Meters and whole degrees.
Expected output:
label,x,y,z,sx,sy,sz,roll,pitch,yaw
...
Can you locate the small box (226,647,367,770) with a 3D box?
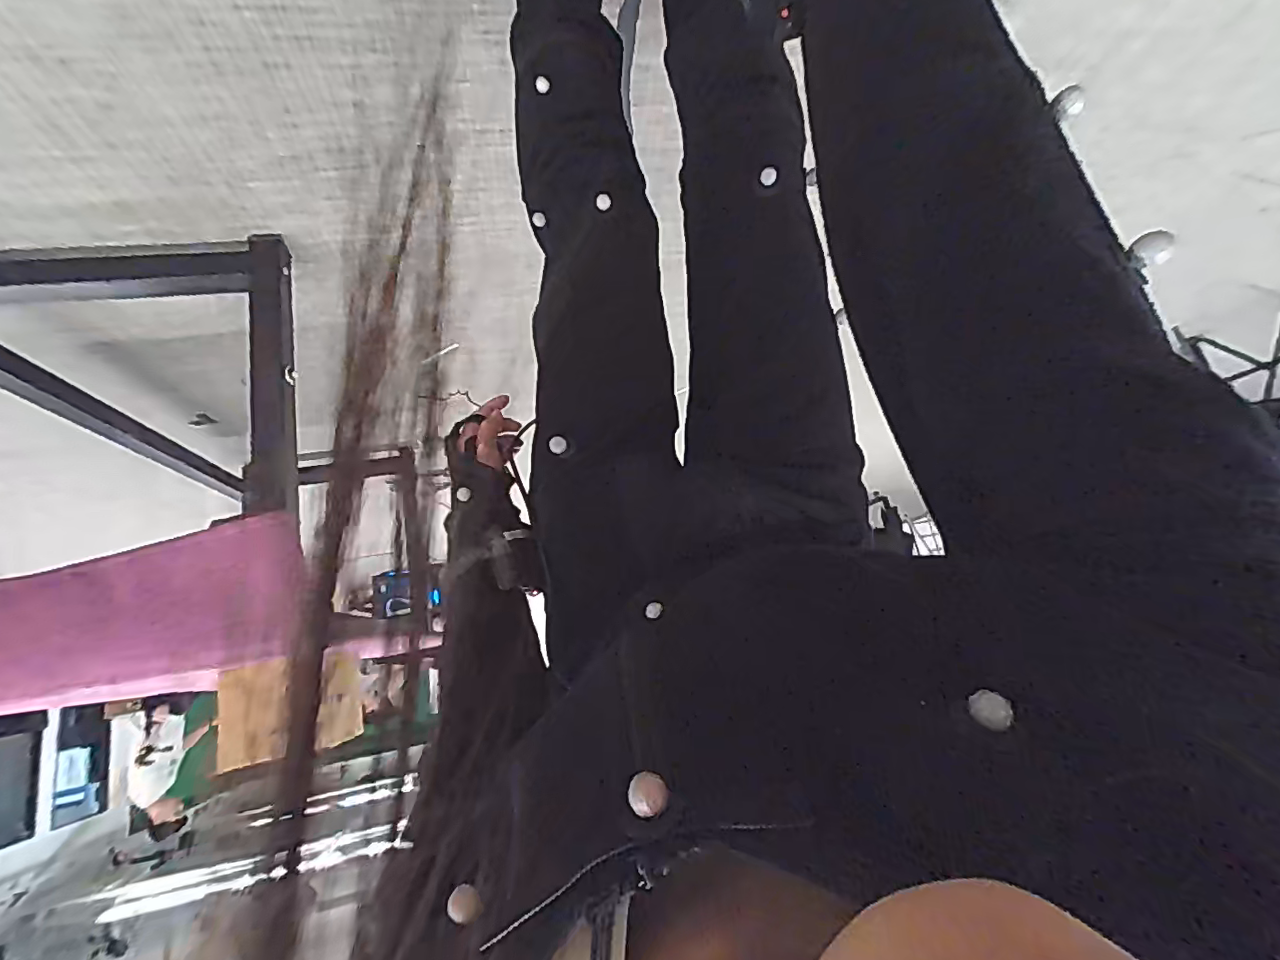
label,x,y,z,sx,sy,sz,roll,pitch,yaw
small box,-0.631,0.410,1.003,0.179,0.176,0.168,-8,165,-10
